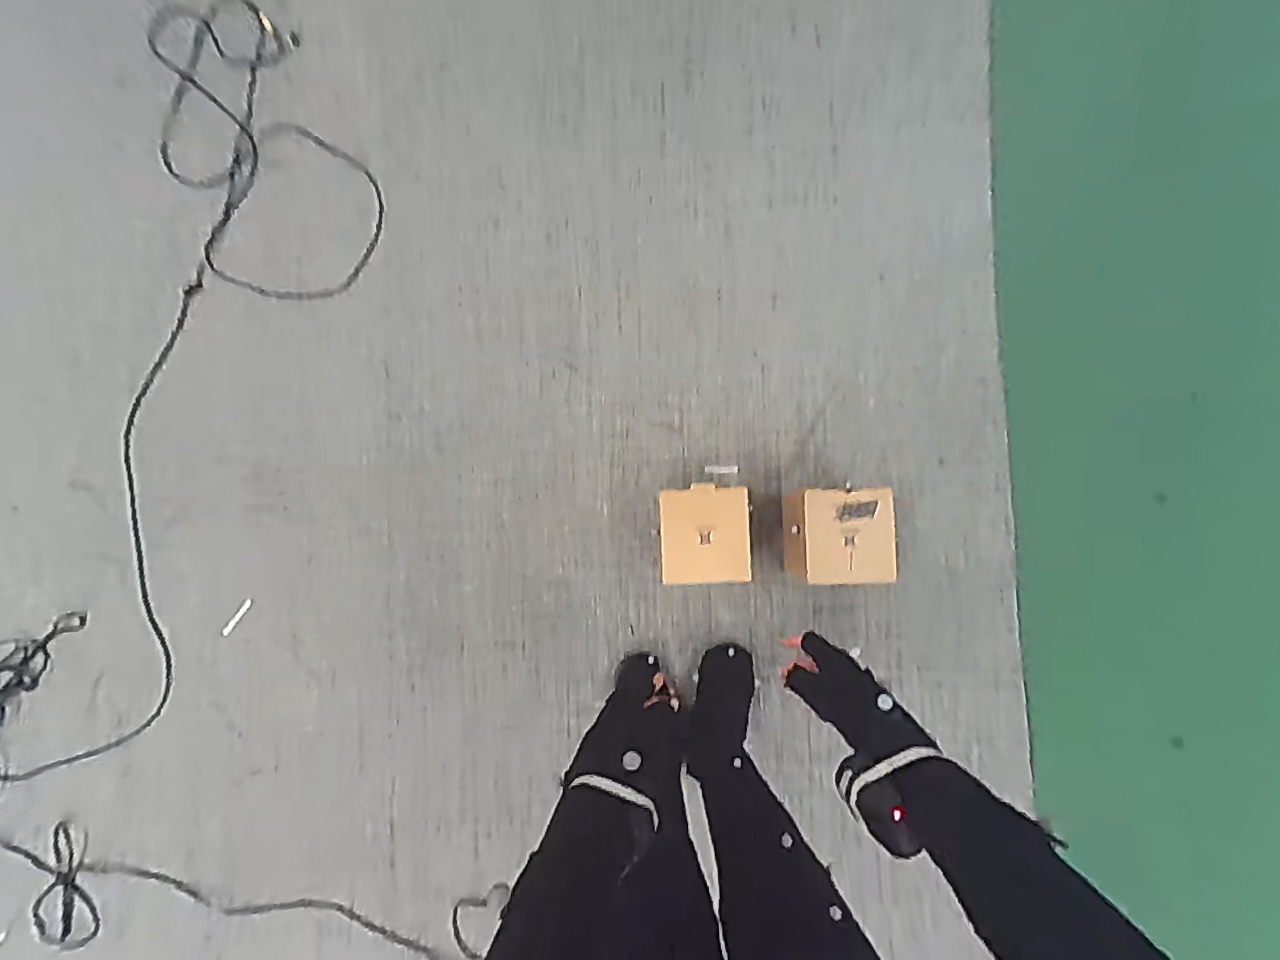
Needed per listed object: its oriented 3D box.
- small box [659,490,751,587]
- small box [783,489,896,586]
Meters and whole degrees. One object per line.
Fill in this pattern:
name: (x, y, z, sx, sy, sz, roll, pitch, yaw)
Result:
small box: (0.122, 0.111, 1.077, 0.168, 0.176, 0.179, -3, 86, 1)
small box: (0.385, 0.110, 1.072, 0.168, 0.176, 0.179, -2, 88, 1)
